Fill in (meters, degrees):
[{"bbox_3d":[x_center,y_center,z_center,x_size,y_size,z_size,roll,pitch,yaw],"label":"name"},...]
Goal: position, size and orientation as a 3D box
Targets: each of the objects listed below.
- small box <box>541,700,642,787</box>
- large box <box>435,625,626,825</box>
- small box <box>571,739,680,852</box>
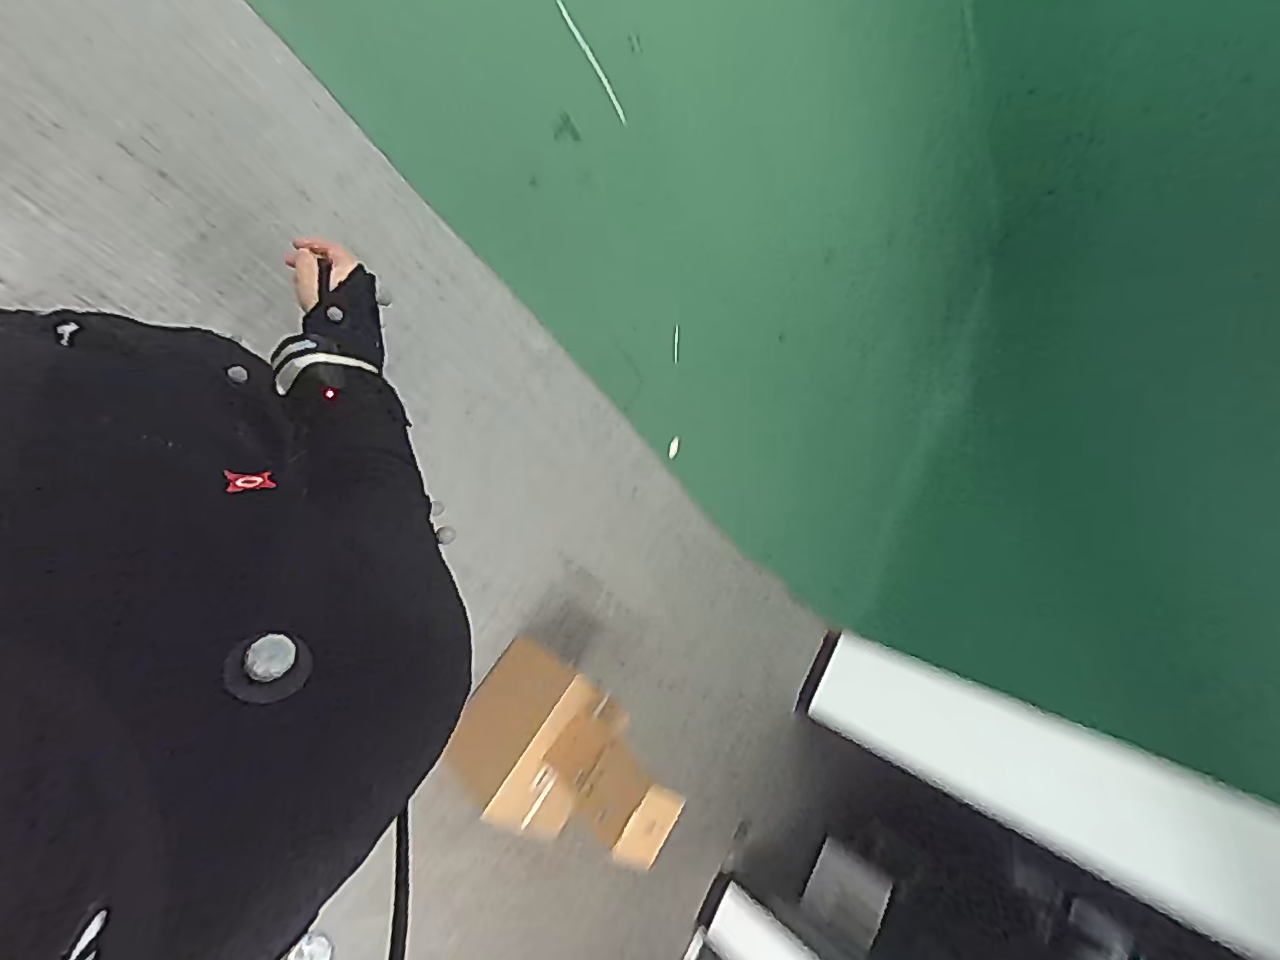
[{"bbox_3d":[-0.133,0.734,1.464,0.179,0.176,0.168,-49,130,-22],"label":"small box"},{"bbox_3d":[-0.321,0.719,1.622,0.408,0.320,0.320,-54,131,-17],"label":"large box"},{"bbox_3d":[-0.038,0.774,1.338,0.168,0.176,0.179,-55,134,-15],"label":"small box"}]
